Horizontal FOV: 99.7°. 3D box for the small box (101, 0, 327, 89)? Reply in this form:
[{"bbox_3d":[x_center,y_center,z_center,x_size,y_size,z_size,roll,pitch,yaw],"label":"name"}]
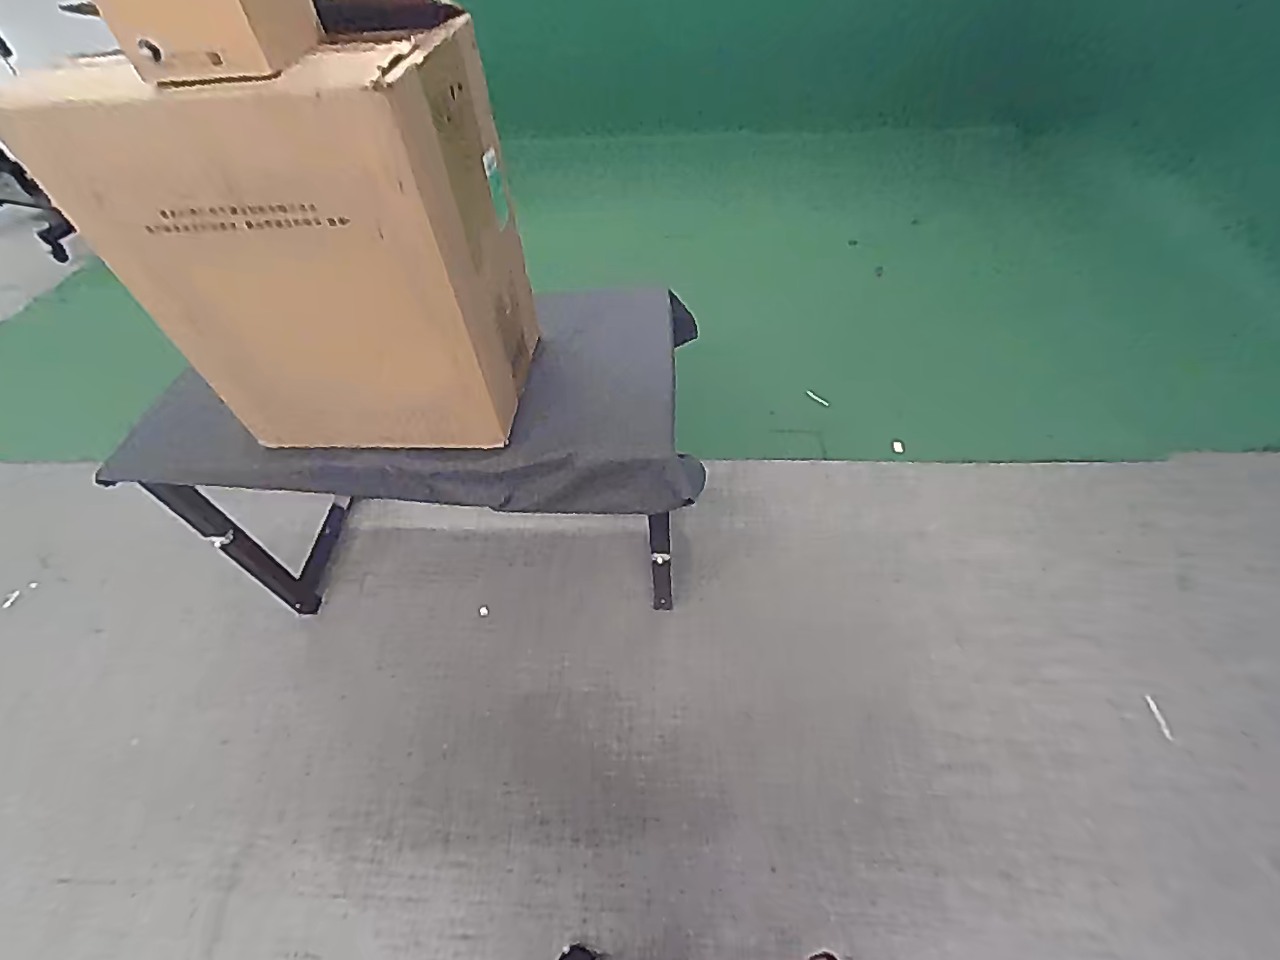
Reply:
[{"bbox_3d":[-0.519,-0.593,0.654,0.168,0.176,0.179,-1,50,3],"label":"small box"}]
